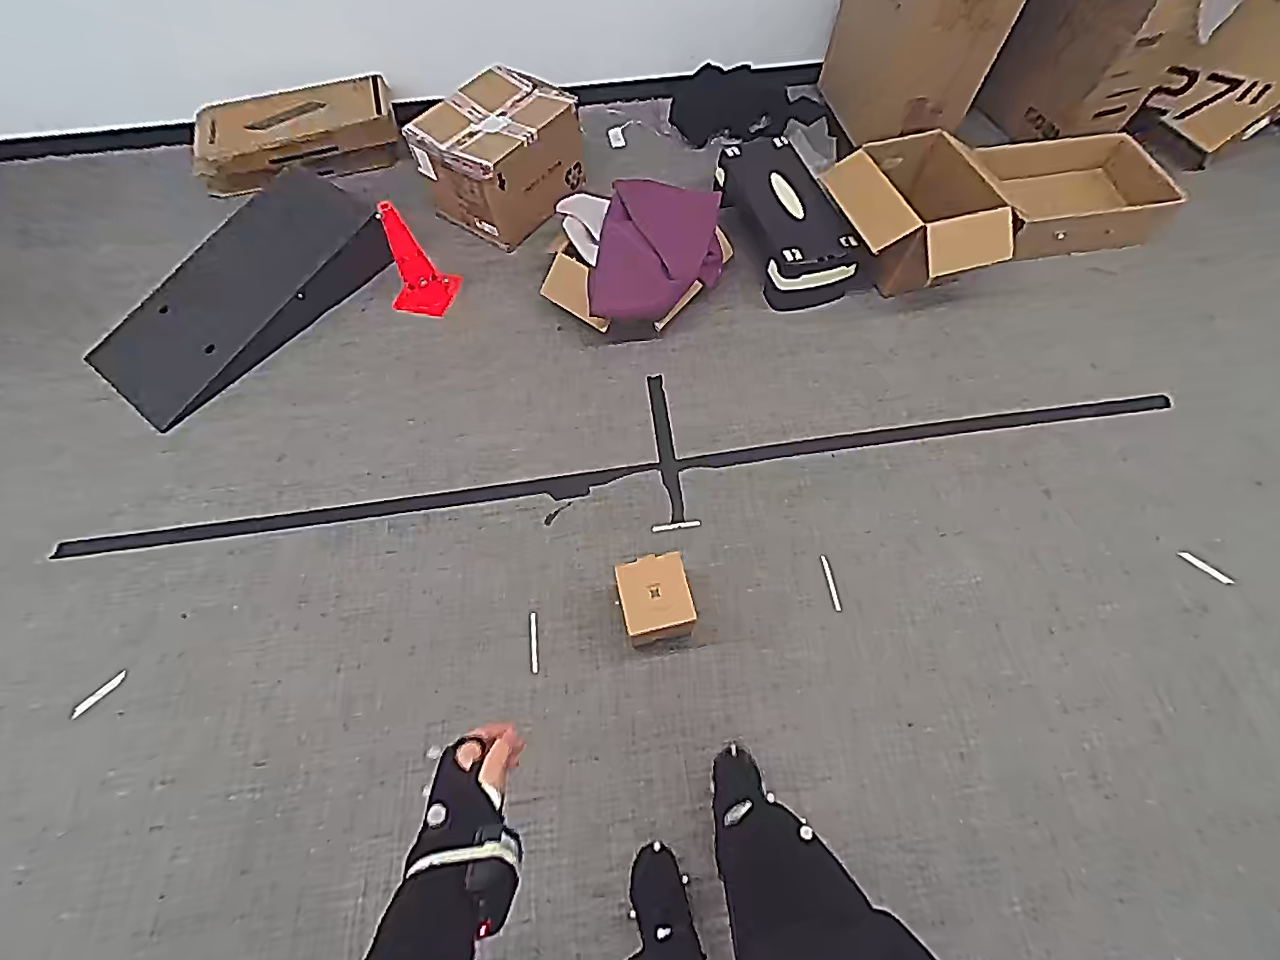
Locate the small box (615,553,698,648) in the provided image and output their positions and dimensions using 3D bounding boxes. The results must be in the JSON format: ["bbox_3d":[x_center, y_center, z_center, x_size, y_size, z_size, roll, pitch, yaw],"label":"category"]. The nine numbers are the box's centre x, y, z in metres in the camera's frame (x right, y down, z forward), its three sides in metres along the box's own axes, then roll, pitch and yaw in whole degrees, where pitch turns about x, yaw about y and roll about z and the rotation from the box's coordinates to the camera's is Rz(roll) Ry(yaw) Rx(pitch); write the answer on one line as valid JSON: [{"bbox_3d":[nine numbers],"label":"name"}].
[{"bbox_3d":[0.038,0.306,1.354,0.168,0.176,0.179,-13,65,-4],"label":"small box"}]
